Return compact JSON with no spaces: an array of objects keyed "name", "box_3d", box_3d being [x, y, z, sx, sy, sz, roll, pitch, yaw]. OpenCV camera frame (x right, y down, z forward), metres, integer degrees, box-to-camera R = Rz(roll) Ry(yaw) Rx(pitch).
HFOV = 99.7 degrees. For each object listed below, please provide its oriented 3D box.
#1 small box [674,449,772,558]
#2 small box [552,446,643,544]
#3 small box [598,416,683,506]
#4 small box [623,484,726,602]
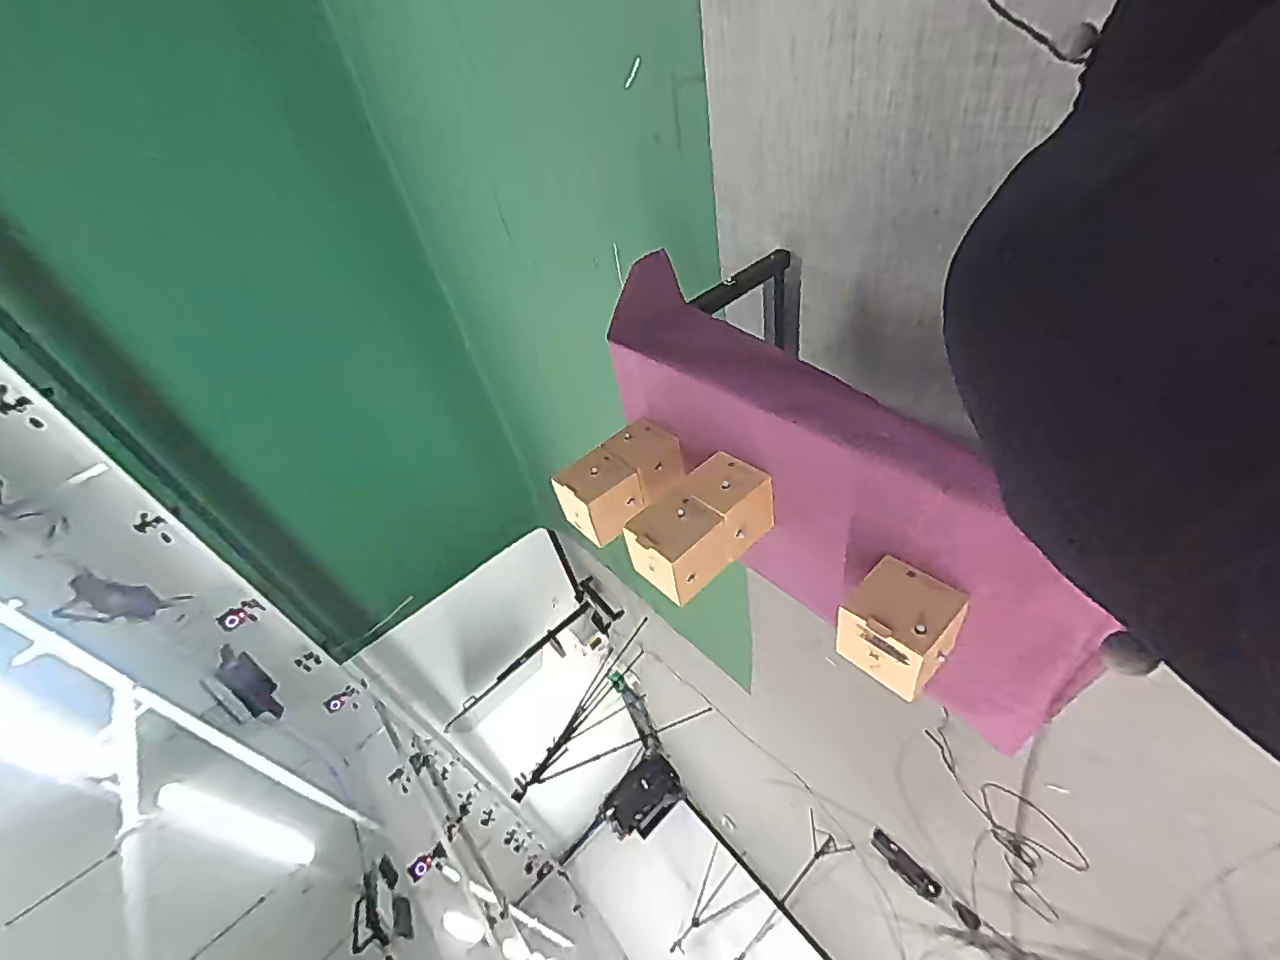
[{"name":"small box","box_3d":[0.210,0.051,1.333,0.168,0.176,0.179,32,149,40]},{"name":"small box","box_3d":[-0.110,0.035,1.487,0.168,0.176,0.179,35,149,38]},{"name":"small box","box_3d":[0.006,-0.056,1.557,0.168,0.176,0.179,34,150,38]},{"name":"small box","box_3d":[0.088,0.144,1.273,0.168,0.176,0.179,33,150,37]}]
